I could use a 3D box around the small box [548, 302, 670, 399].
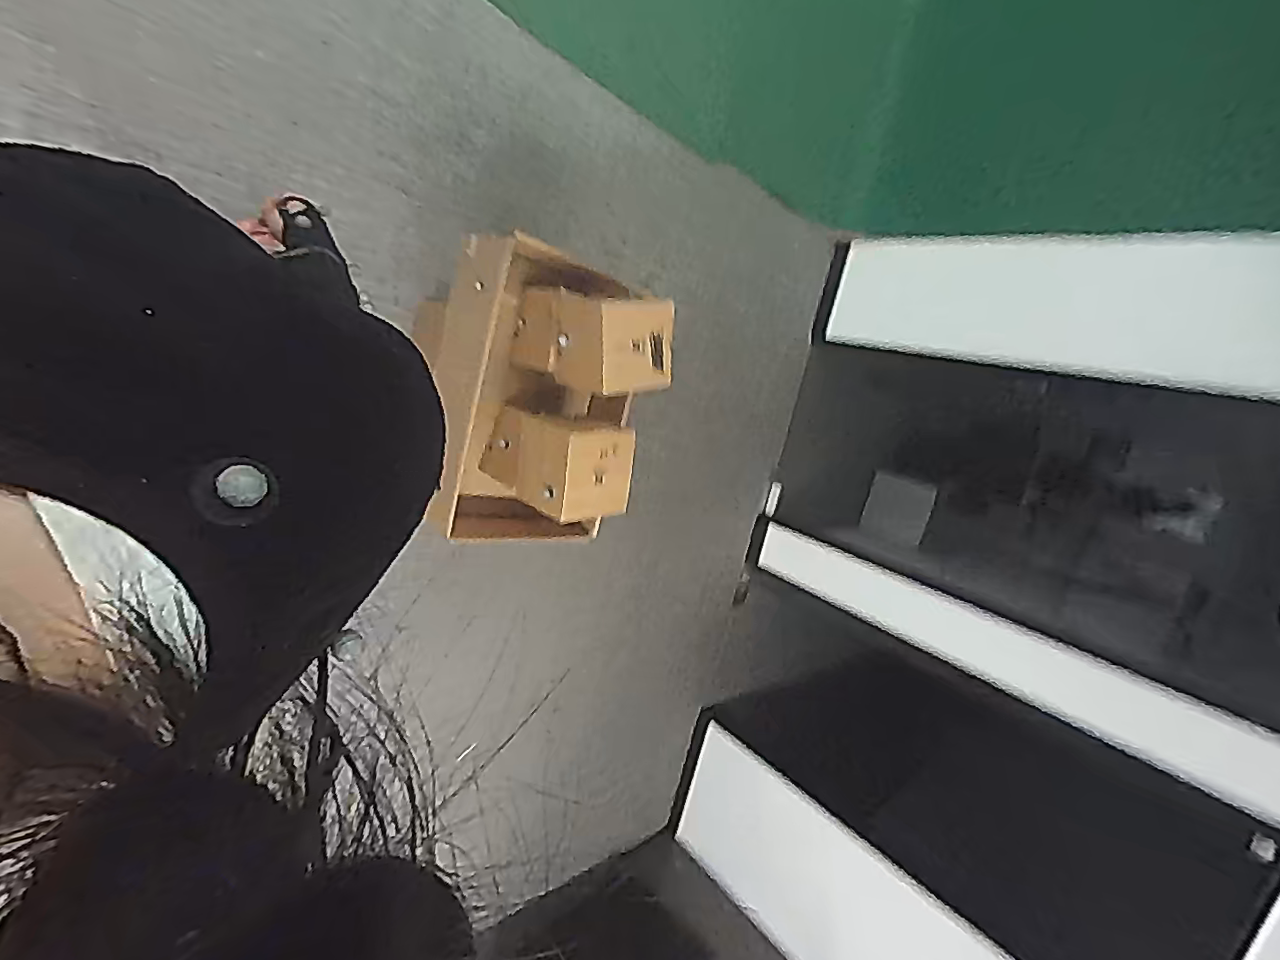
[{"bbox_3d":[-0.064,-0.264,1.073,0.179,0.176,0.168,-15,116,-39],"label":"small box"}]

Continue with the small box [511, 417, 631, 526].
[{"bbox_3d":[-0.145,-0.022,1.096,0.168,0.176,0.179,-5,109,-45],"label":"small box"}]

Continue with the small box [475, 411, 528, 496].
[{"bbox_3d":[-0.244,-0.048,1.228,0.179,0.176,0.168,21,93,-46],"label":"small box"}]
